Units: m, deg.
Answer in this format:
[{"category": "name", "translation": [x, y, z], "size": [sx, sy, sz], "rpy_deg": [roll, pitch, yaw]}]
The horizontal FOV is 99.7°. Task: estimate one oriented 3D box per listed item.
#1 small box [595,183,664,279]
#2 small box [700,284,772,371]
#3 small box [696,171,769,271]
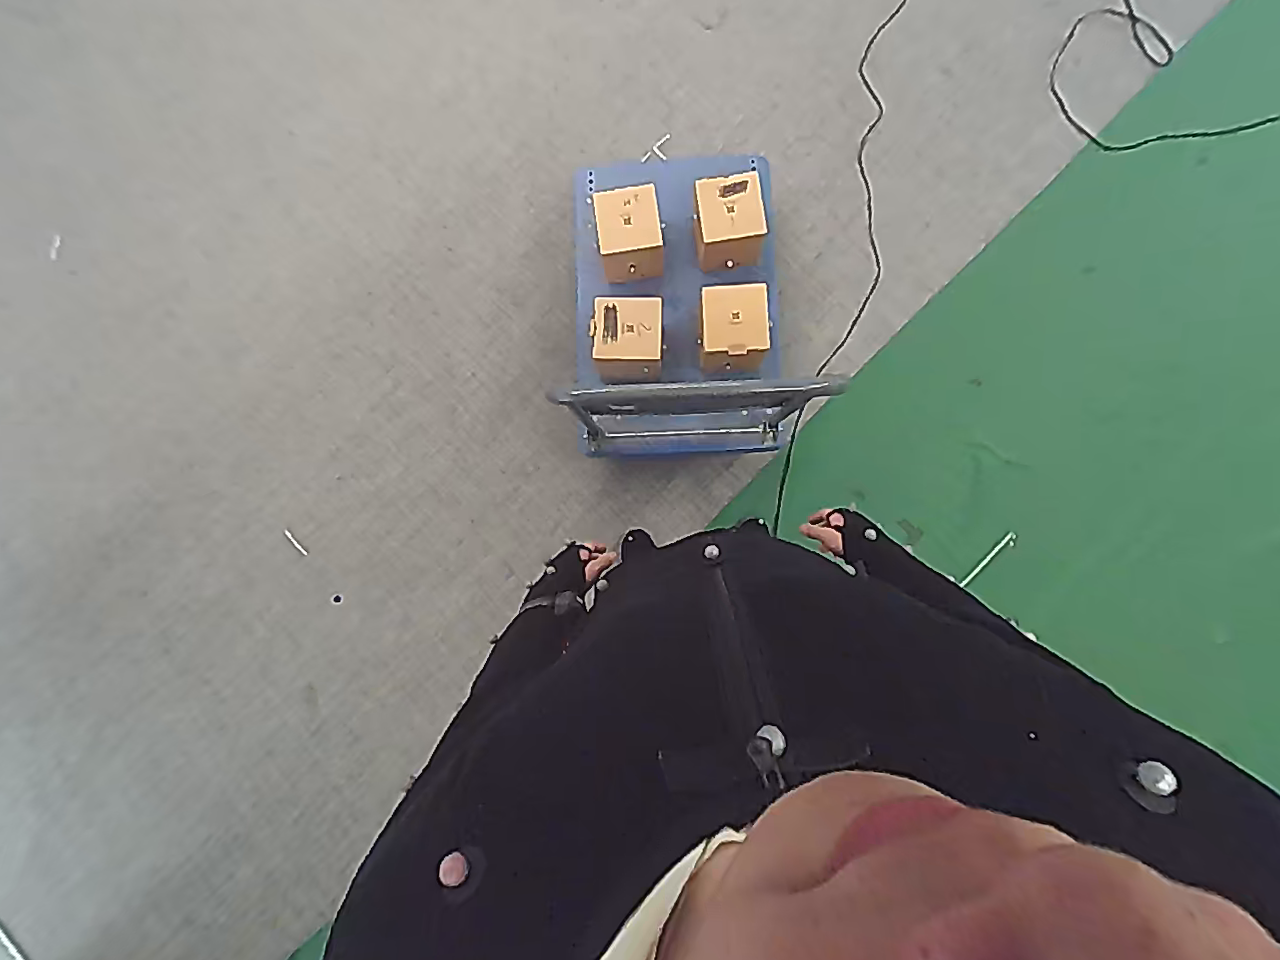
[{"category": "small box", "translation": [-0.024, -0.670, 1.479], "size": [0.168, 0.176, 0.179], "rpy_deg": [-8, 84, 2]}, {"category": "small box", "translation": [0.250, -0.400, 1.438], "size": [0.168, 0.176, 0.179], "rpy_deg": [-2, 85, 3]}, {"category": "small box", "translation": [0.244, -0.695, 1.465], "size": [0.168, 0.176, 0.179], "rpy_deg": [-7, 85, 3]}]
